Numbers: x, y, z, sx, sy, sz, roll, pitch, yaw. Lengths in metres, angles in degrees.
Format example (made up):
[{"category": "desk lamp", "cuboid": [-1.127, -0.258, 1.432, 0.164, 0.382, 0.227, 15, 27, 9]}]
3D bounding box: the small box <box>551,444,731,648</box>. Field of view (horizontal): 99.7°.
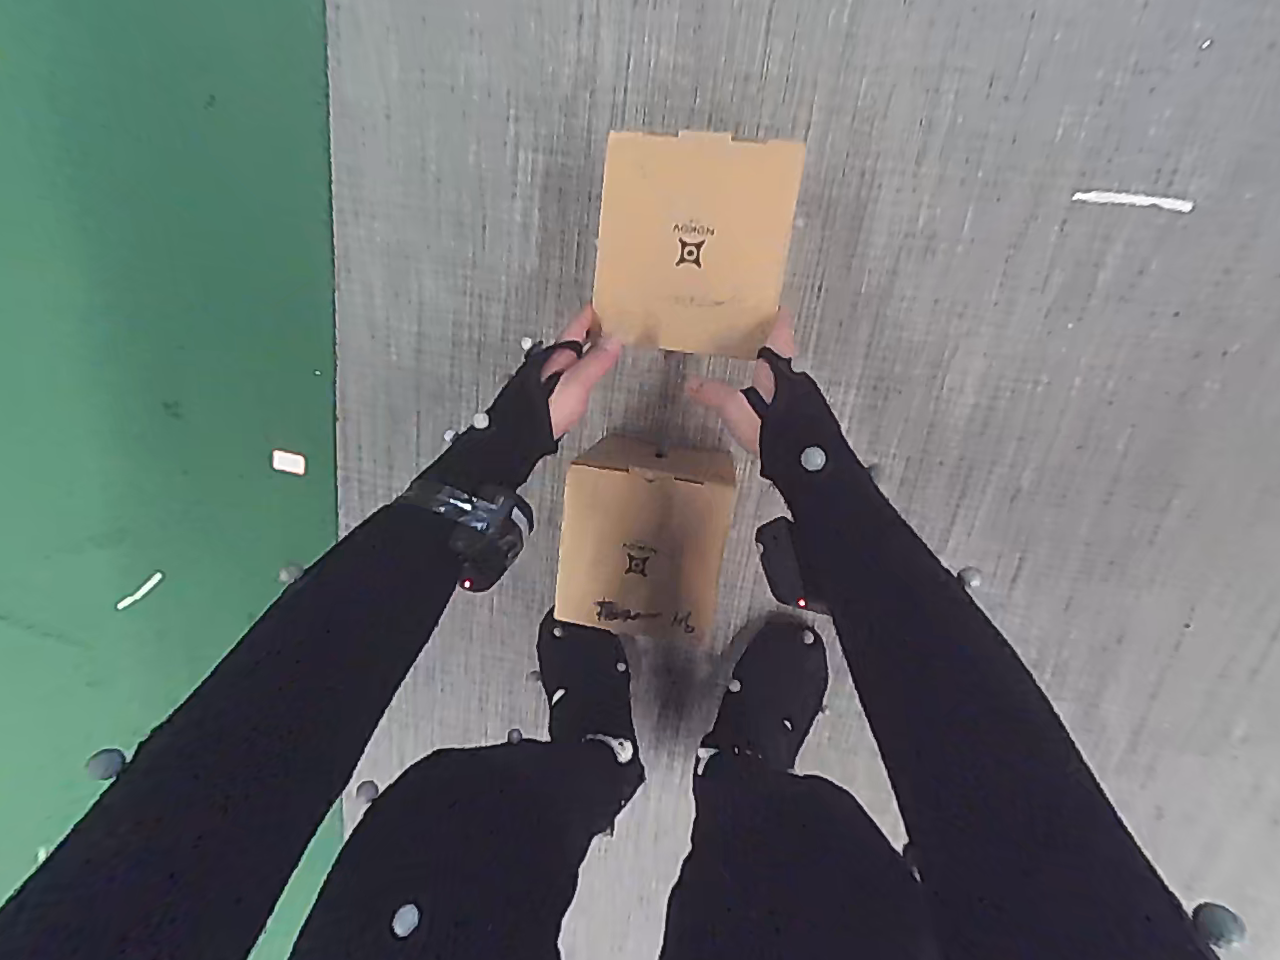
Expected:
[{"category": "small box", "cuboid": [0.008, 0.061, 0.621, 0.168, 0.176, 0.179, 9, 104, 8]}]
